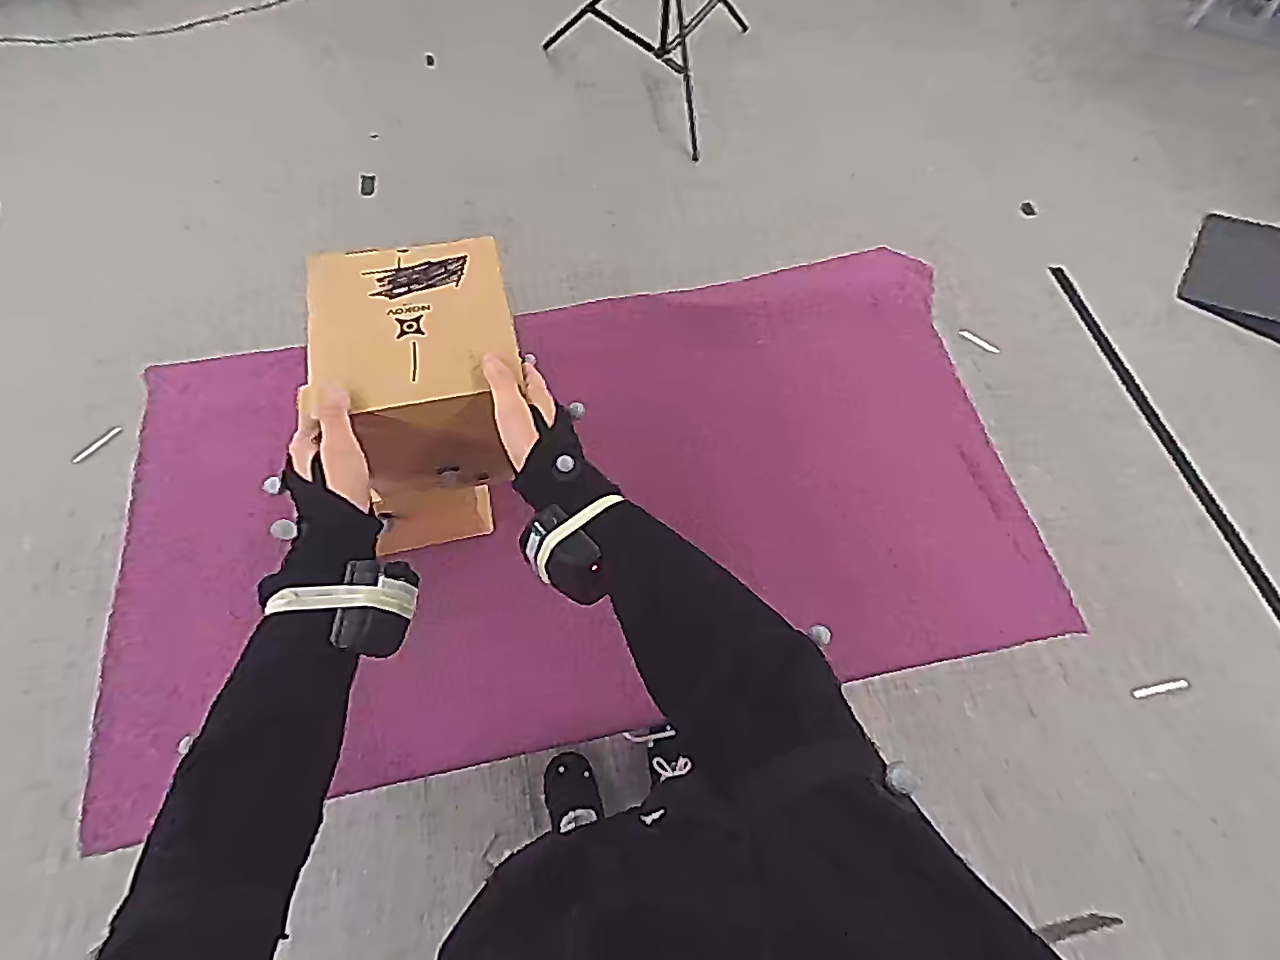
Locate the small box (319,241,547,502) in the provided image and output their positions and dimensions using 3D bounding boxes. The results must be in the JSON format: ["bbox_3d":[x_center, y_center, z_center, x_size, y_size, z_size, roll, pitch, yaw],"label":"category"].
[{"bbox_3d":[-0.192,-0.100,0.535,0.168,0.176,0.179,-12,67,-9],"label":"small box"}]

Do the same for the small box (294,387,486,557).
[{"bbox_3d":[-0.300,-0.014,0.681,0.179,0.176,0.168,-11,68,-6],"label":"small box"}]
